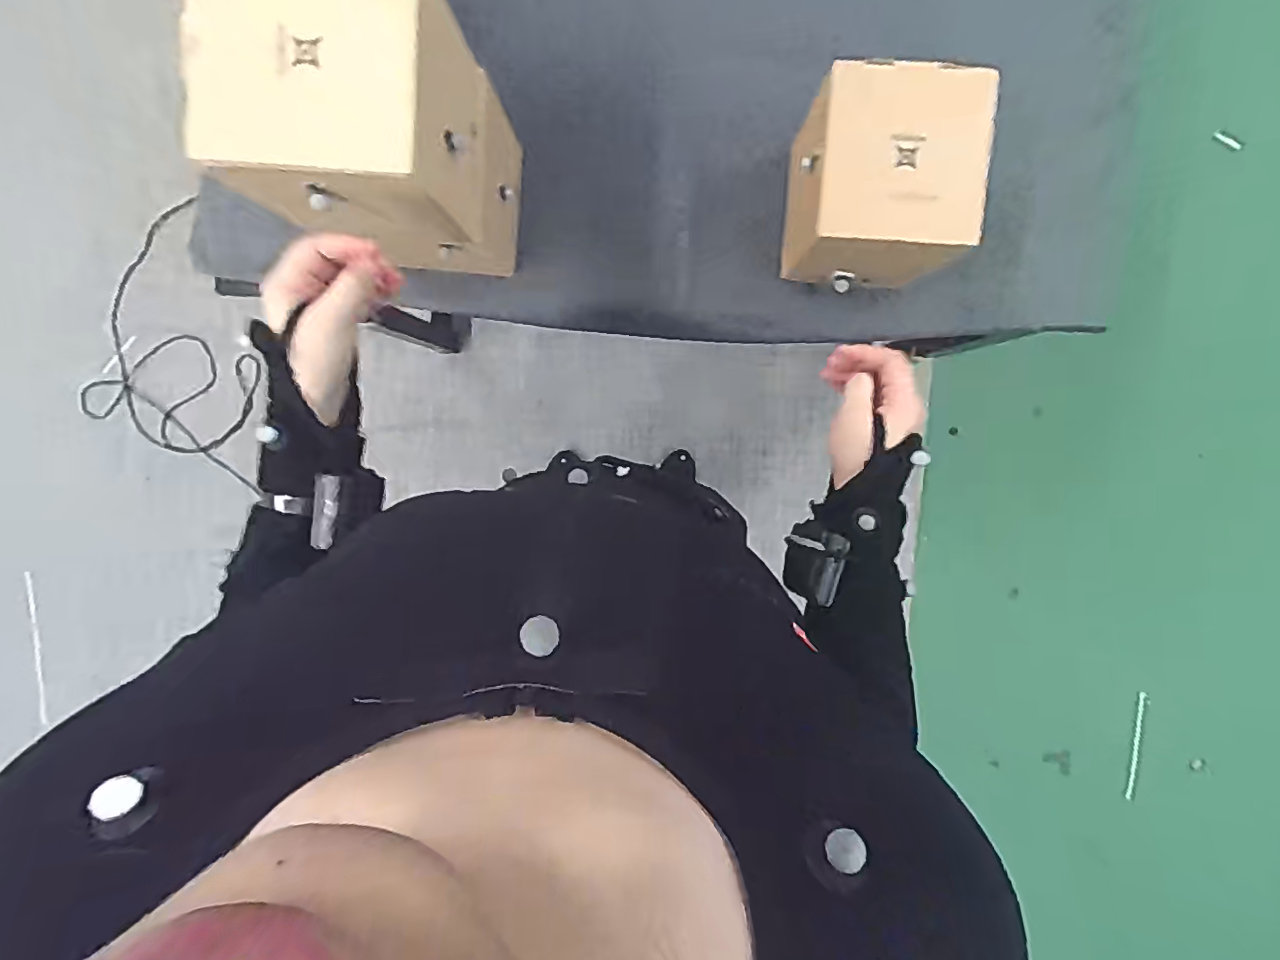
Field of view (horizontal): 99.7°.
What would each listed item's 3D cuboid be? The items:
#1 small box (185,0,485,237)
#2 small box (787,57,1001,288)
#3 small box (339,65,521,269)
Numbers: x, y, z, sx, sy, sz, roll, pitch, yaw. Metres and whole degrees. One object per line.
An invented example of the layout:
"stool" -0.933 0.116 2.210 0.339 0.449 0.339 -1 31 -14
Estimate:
"small box" -0.246 -0.327 0.477 0.179 0.176 0.168 4 97 2
"small box" 0.274 -0.337 0.623 0.168 0.176 0.179 4 95 2
"small box" -0.247 -0.358 0.637 0.179 0.176 0.168 6 96 1
